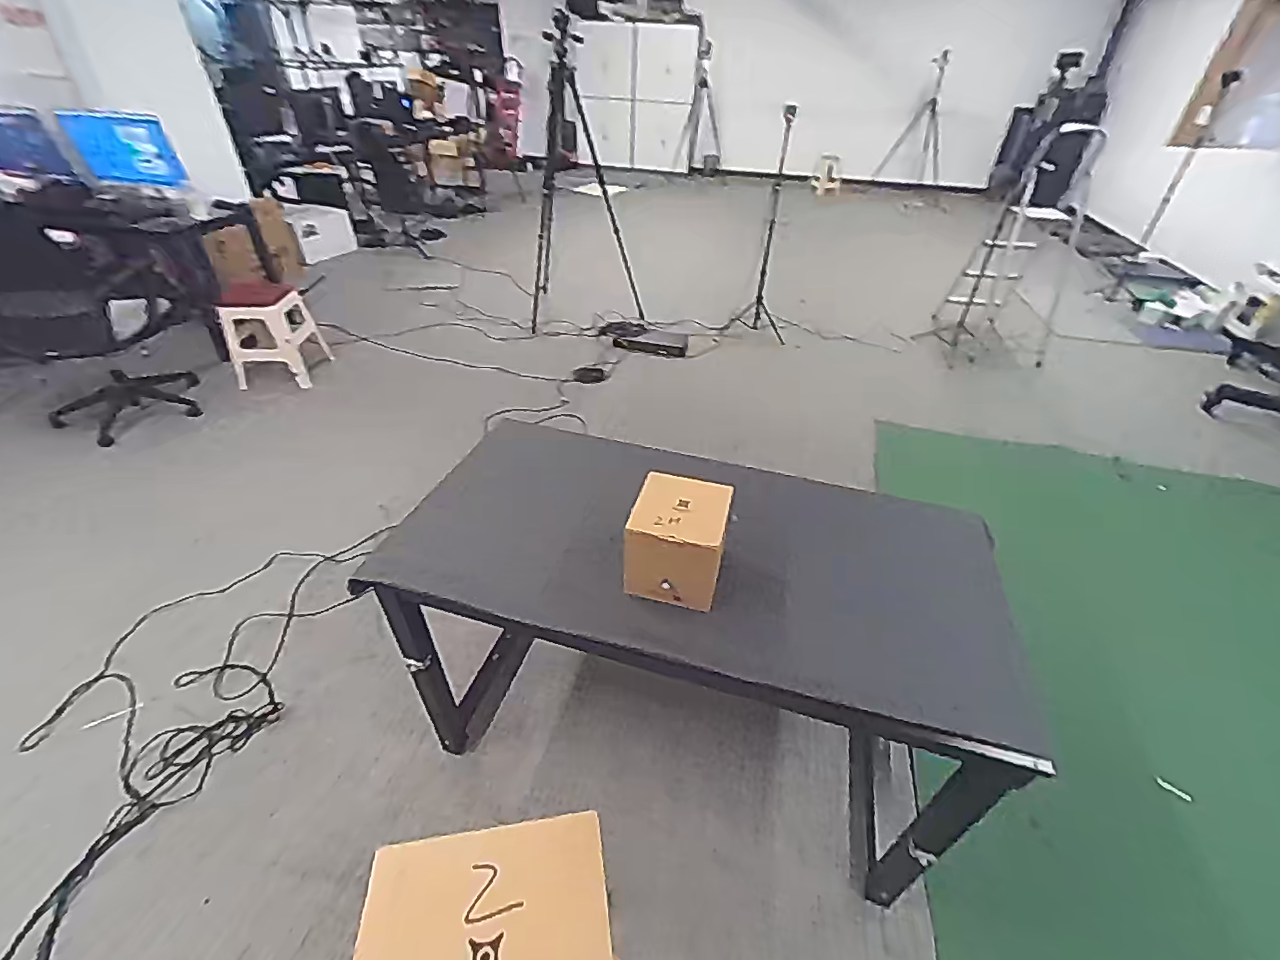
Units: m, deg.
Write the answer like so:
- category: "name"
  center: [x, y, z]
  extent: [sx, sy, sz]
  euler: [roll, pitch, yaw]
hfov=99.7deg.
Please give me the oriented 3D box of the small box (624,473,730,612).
- category: "small box"
  center: [0.067, 0.116, 1.023]
  extent: [0.168, 0.176, 0.179]
  euler: [11, 38, 11]
